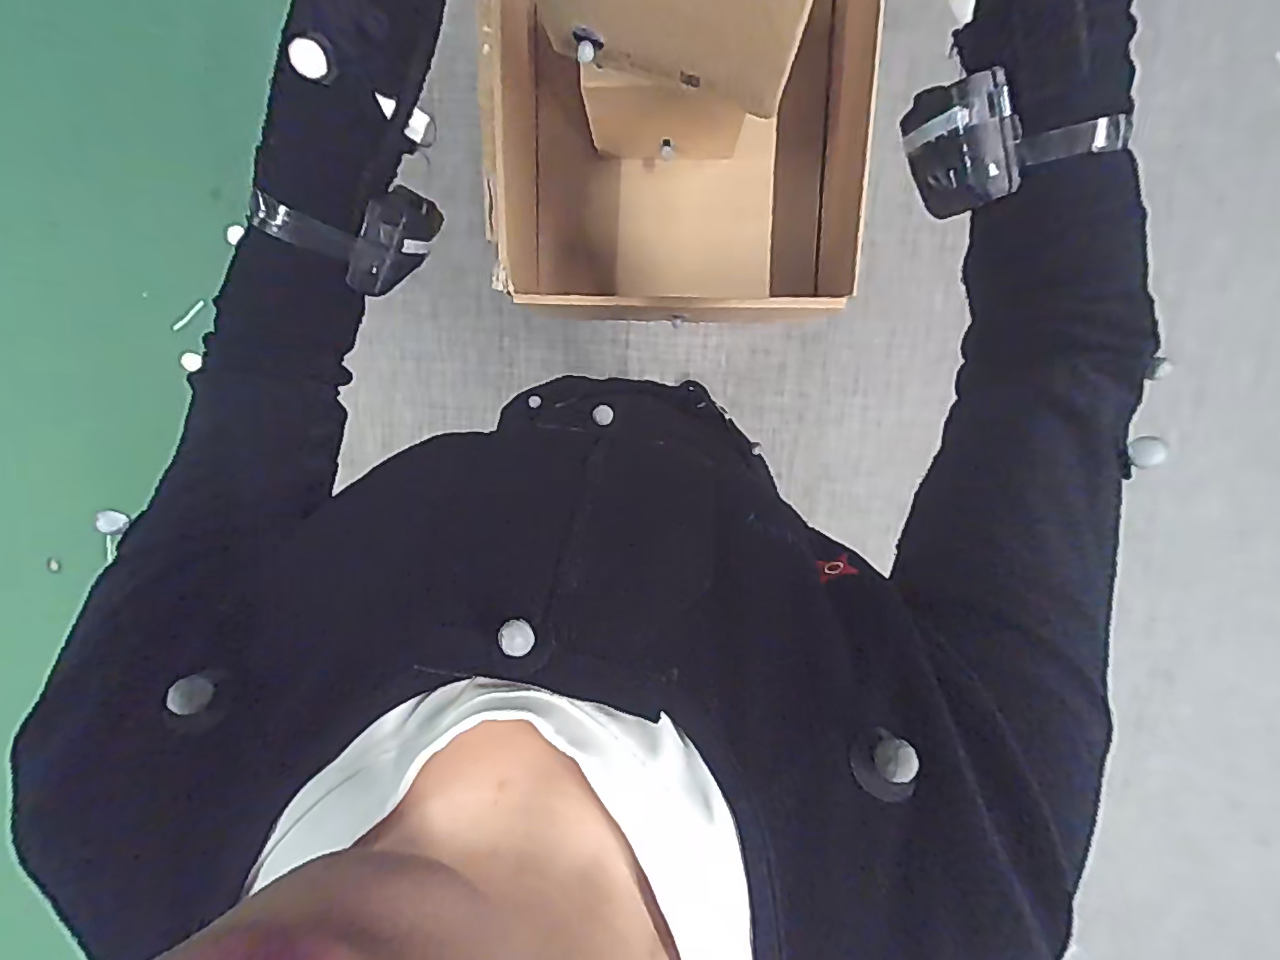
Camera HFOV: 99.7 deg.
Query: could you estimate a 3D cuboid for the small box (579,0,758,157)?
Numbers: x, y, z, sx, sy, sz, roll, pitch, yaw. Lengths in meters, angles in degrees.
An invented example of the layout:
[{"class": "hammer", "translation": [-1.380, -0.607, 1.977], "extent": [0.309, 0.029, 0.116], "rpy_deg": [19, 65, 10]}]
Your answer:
[{"class": "small box", "translation": [0.029, -0.482, 0.599], "extent": [0.179, 0.176, 0.168], "rpy_deg": [1, 98, 1]}]
